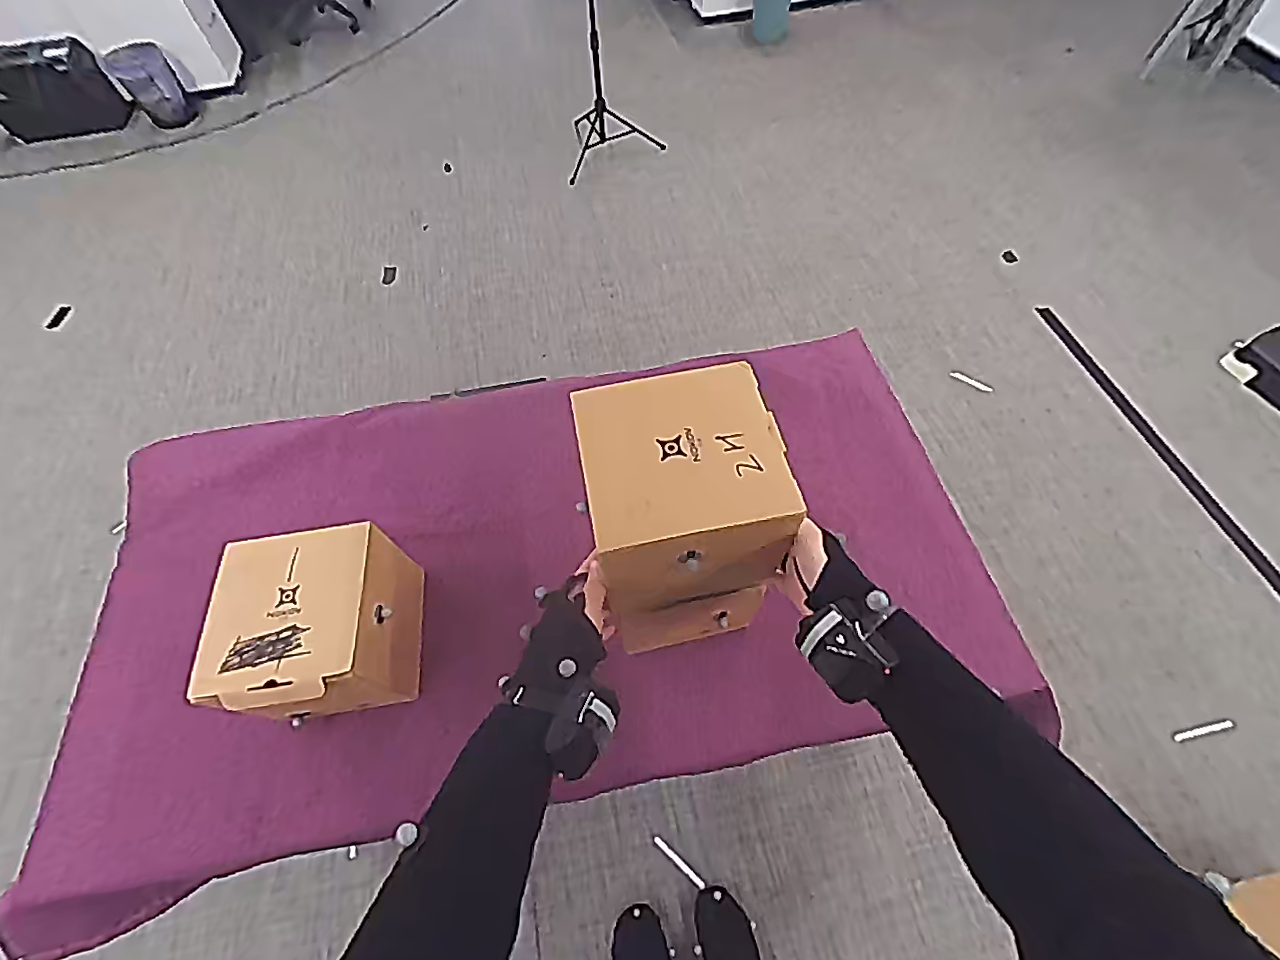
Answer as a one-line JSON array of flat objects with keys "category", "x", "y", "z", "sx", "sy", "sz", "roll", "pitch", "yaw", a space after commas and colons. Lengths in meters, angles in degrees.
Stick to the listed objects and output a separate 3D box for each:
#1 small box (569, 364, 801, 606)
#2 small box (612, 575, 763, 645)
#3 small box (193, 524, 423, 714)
[{"category": "small box", "x": 0.036, "y": 0.014, "z": 0.538, "sx": 0.179, "sy": 0.176, "sz": 0.168, "roll": -10, "pitch": 61, "yaw": -4}, {"category": "small box", "x": 0.041, "y": 0.096, "z": 0.680, "sx": 0.168, "sy": 0.176, "sz": 0.179, "roll": -12, "pitch": 60, "yaw": -5}, {"category": "small box", "x": -0.375, "y": 0.175, "z": 0.651, "sx": 0.168, "sy": 0.176, "sz": 0.179, "roll": -9, "pitch": 59, "yaw": -3}]
